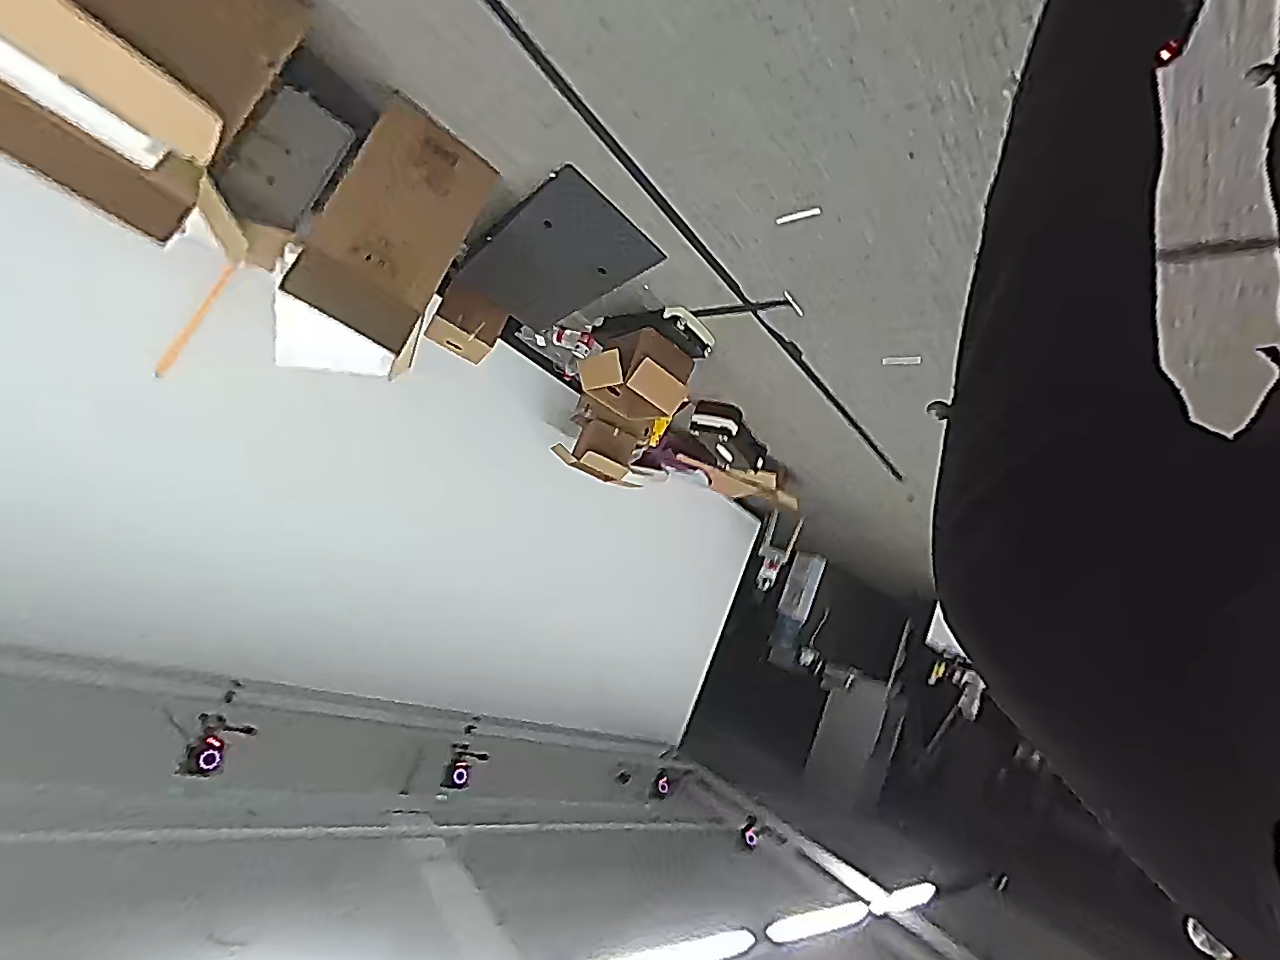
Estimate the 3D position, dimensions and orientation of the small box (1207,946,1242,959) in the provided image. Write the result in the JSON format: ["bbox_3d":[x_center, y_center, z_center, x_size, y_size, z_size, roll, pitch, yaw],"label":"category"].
[{"bbox_3d":[1.567,1.348,1.380,0.168,0.176,0.179,12,168,45],"label":"small box"}]
